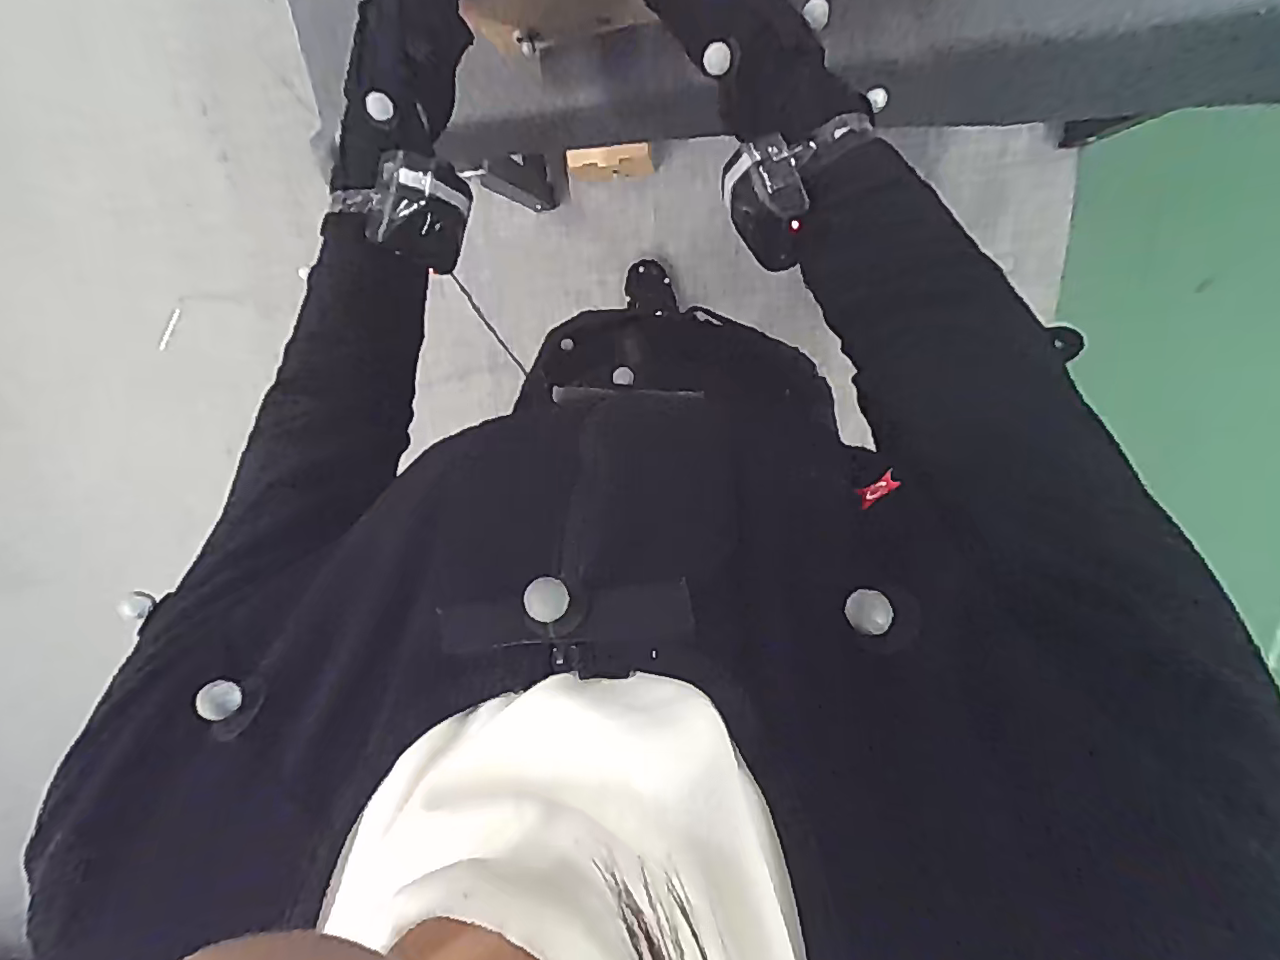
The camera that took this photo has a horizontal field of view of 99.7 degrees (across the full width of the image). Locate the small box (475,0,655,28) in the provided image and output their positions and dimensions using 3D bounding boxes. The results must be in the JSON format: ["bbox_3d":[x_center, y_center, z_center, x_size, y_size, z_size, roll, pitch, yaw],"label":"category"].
[{"bbox_3d":[-0.072,-0.475,0.399,0.168,0.176,0.179,-6,110,7],"label":"small box"}]
